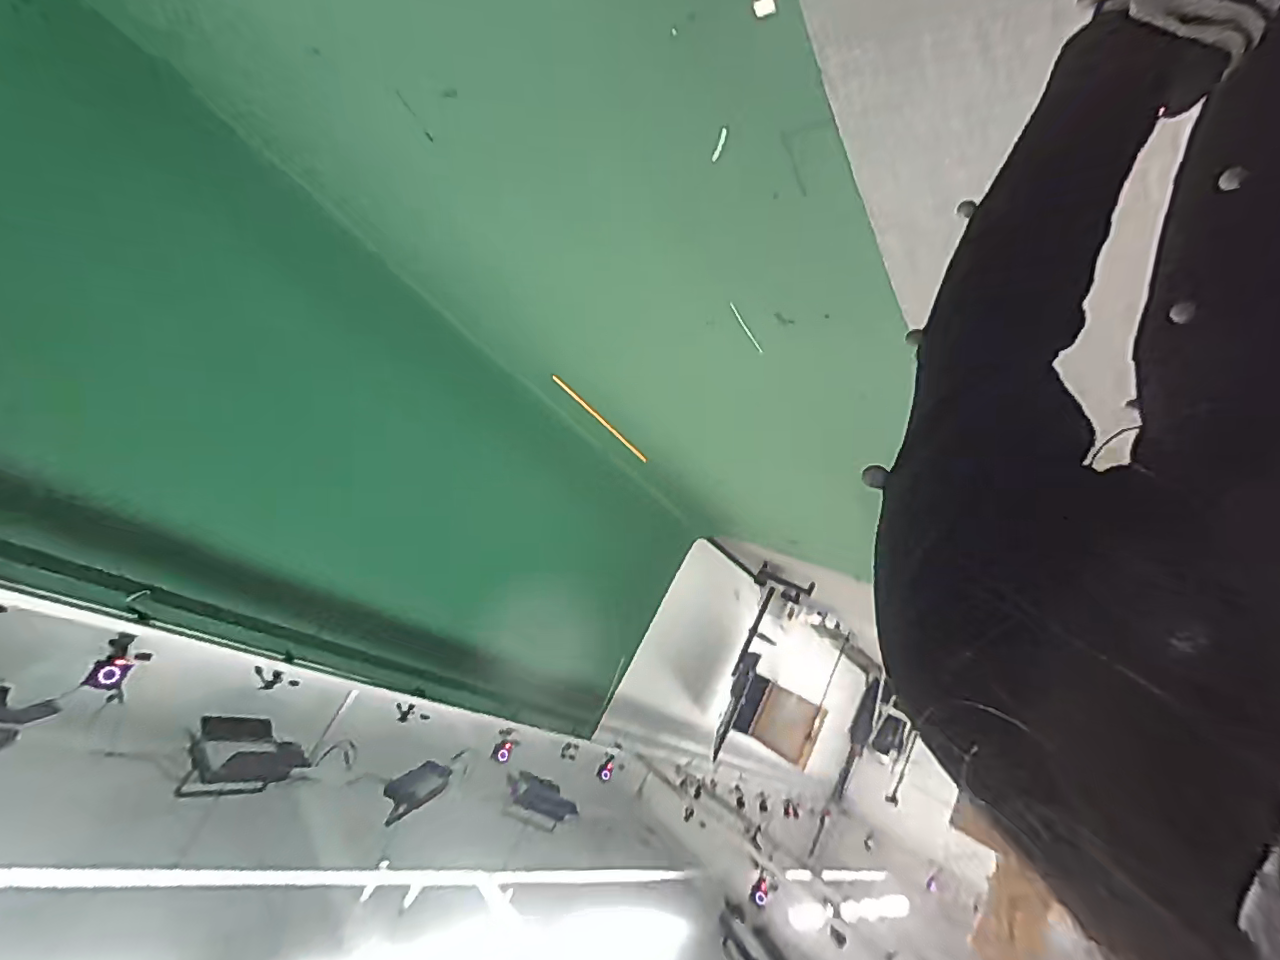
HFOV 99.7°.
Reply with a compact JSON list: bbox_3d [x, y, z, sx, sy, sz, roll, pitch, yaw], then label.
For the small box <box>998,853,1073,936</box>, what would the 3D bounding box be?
[{"bbox_3d":[1.412,1.473,1.935,0.179,0.176,0.168,18,162,39],"label":"small box"}]
